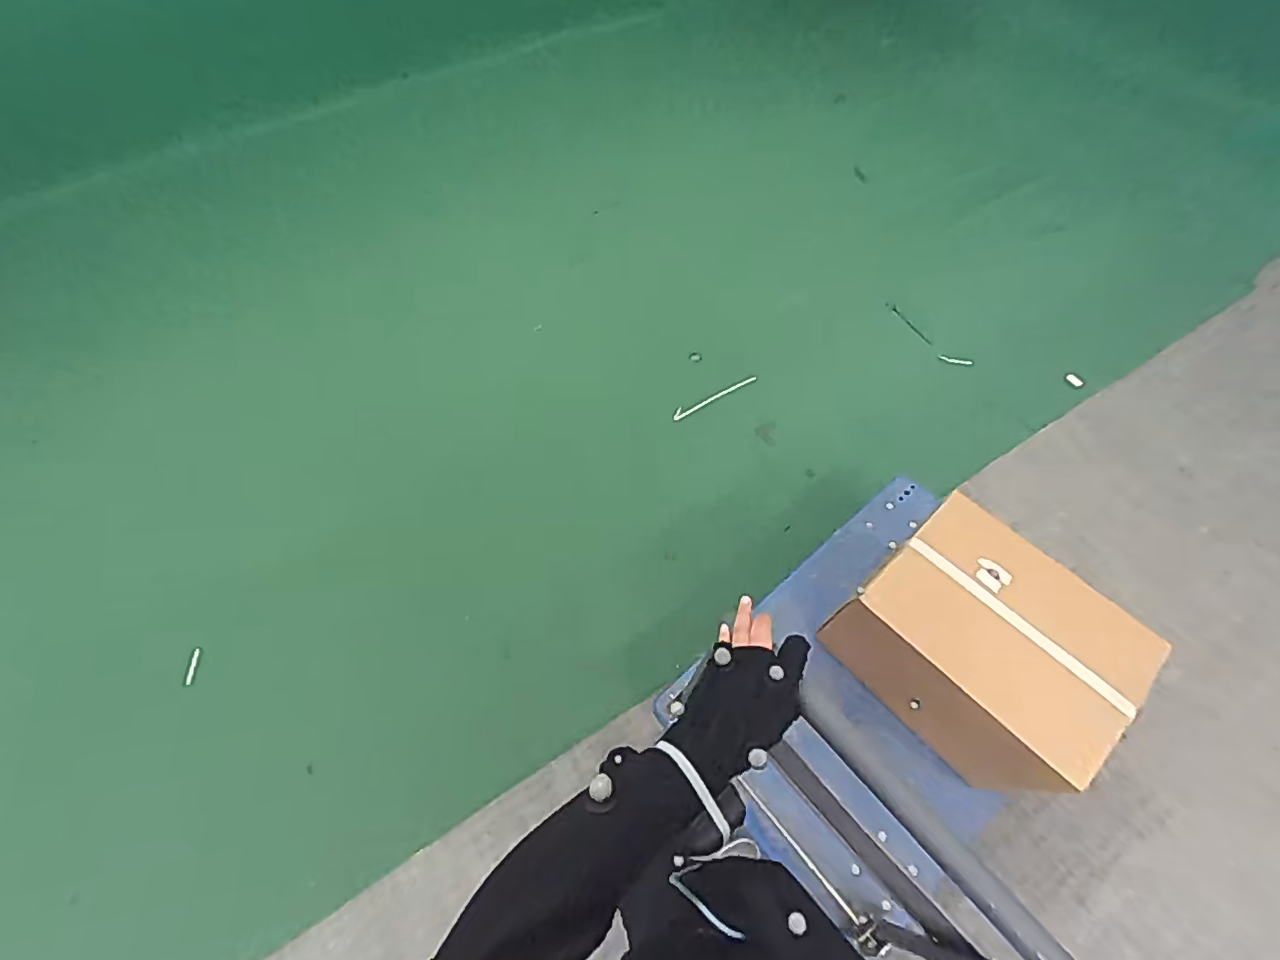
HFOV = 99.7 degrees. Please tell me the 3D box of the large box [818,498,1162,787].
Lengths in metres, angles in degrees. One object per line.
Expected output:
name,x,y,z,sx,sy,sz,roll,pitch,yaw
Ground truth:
large box,0.631,0.319,1.054,0.320,0.320,0.408,-39,65,-19
